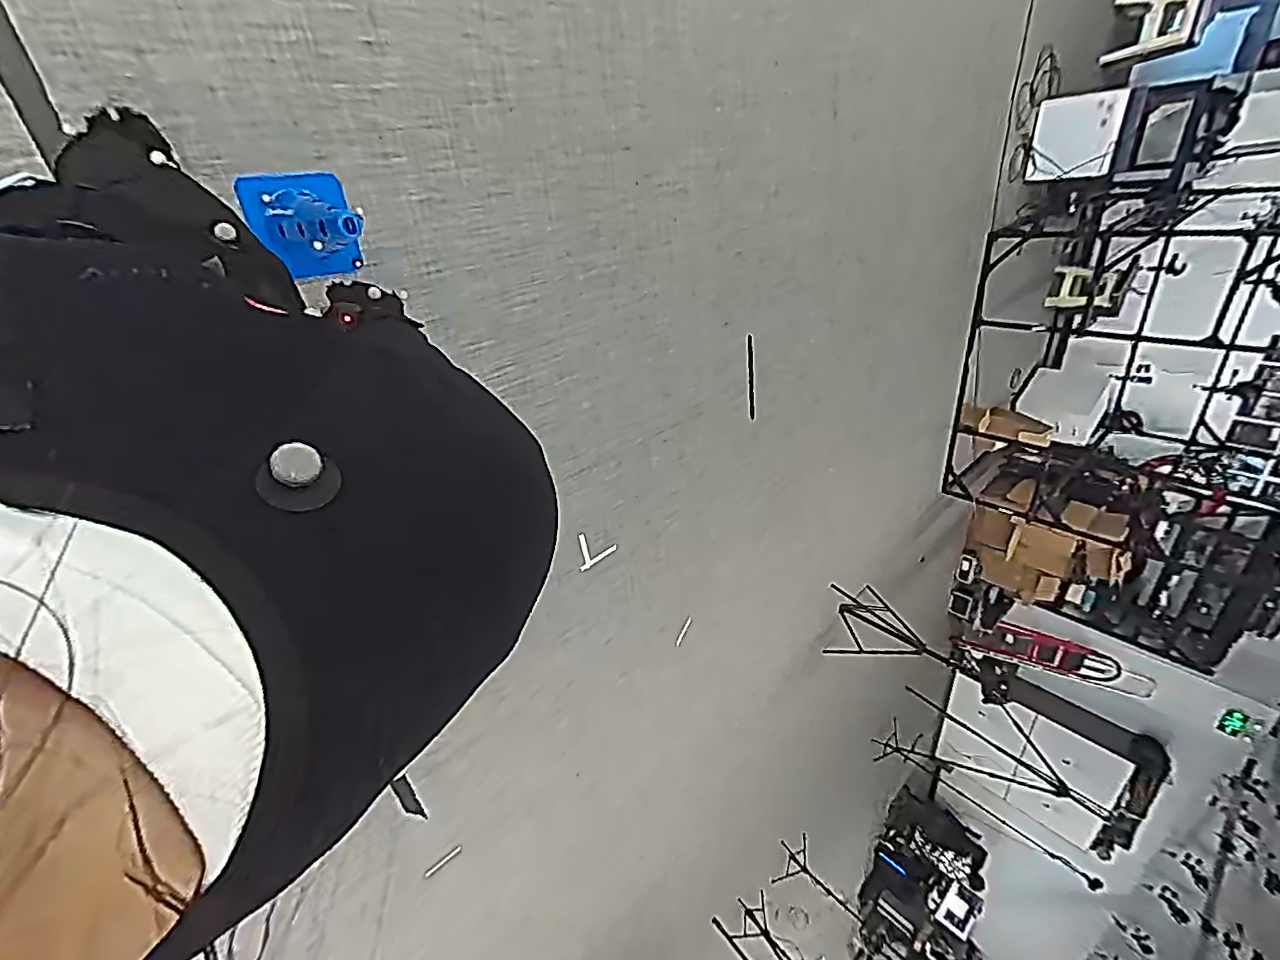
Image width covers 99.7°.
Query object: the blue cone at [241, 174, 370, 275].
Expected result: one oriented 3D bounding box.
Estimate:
[{"bbox_3d":[-0.615,-0.497,1.049,0.192,0.380,0.193,-25,124,-35],"label":"blue cone"}]
